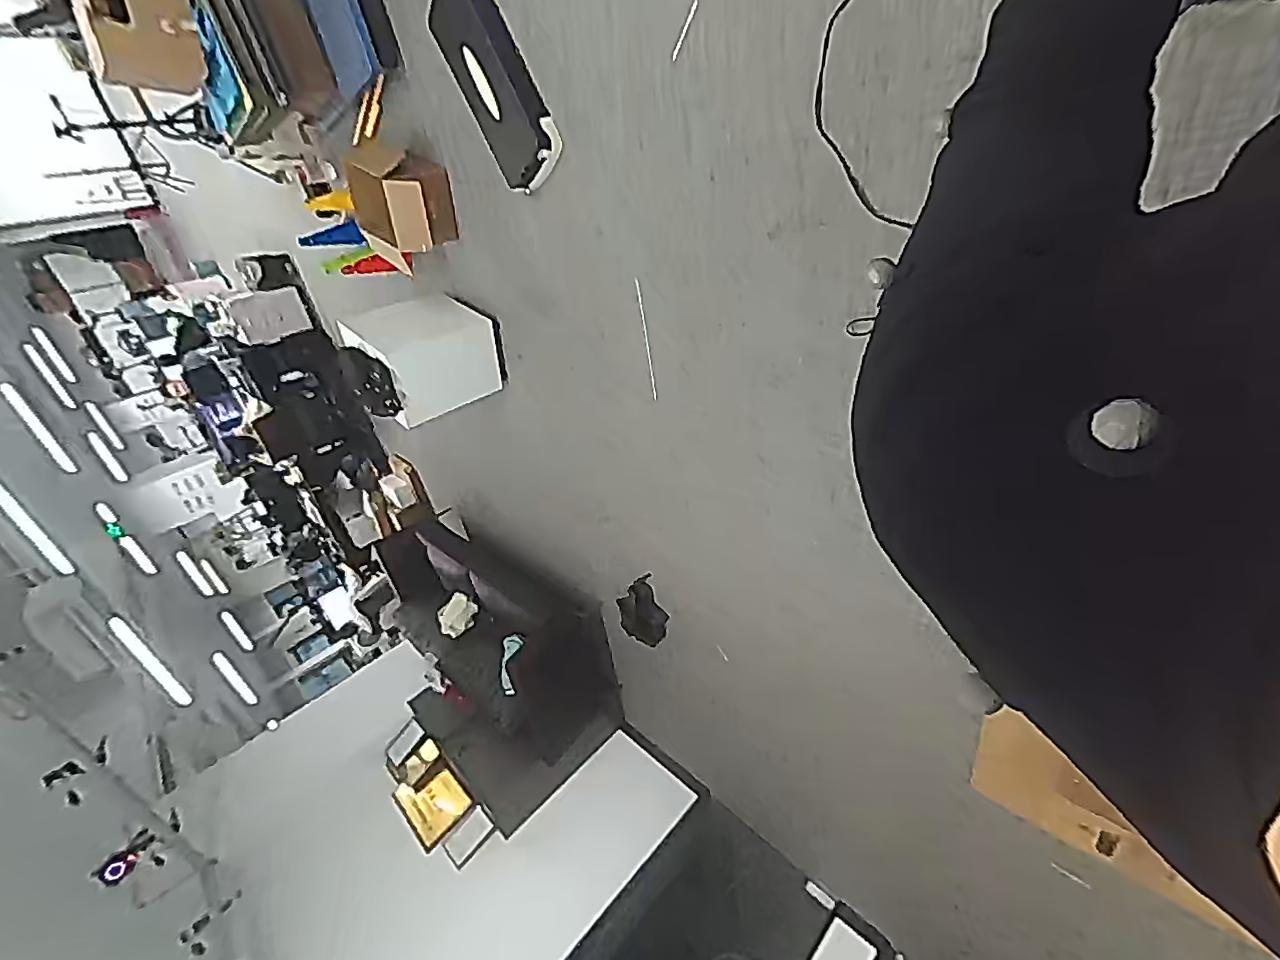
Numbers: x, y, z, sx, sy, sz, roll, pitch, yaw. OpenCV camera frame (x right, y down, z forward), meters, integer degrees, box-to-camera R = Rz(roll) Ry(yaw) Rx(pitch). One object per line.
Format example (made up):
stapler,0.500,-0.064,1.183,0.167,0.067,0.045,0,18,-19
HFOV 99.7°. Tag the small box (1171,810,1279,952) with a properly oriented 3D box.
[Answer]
small box,1.404,0.940,1.279,0.168,0.176,0.179,19,129,42
